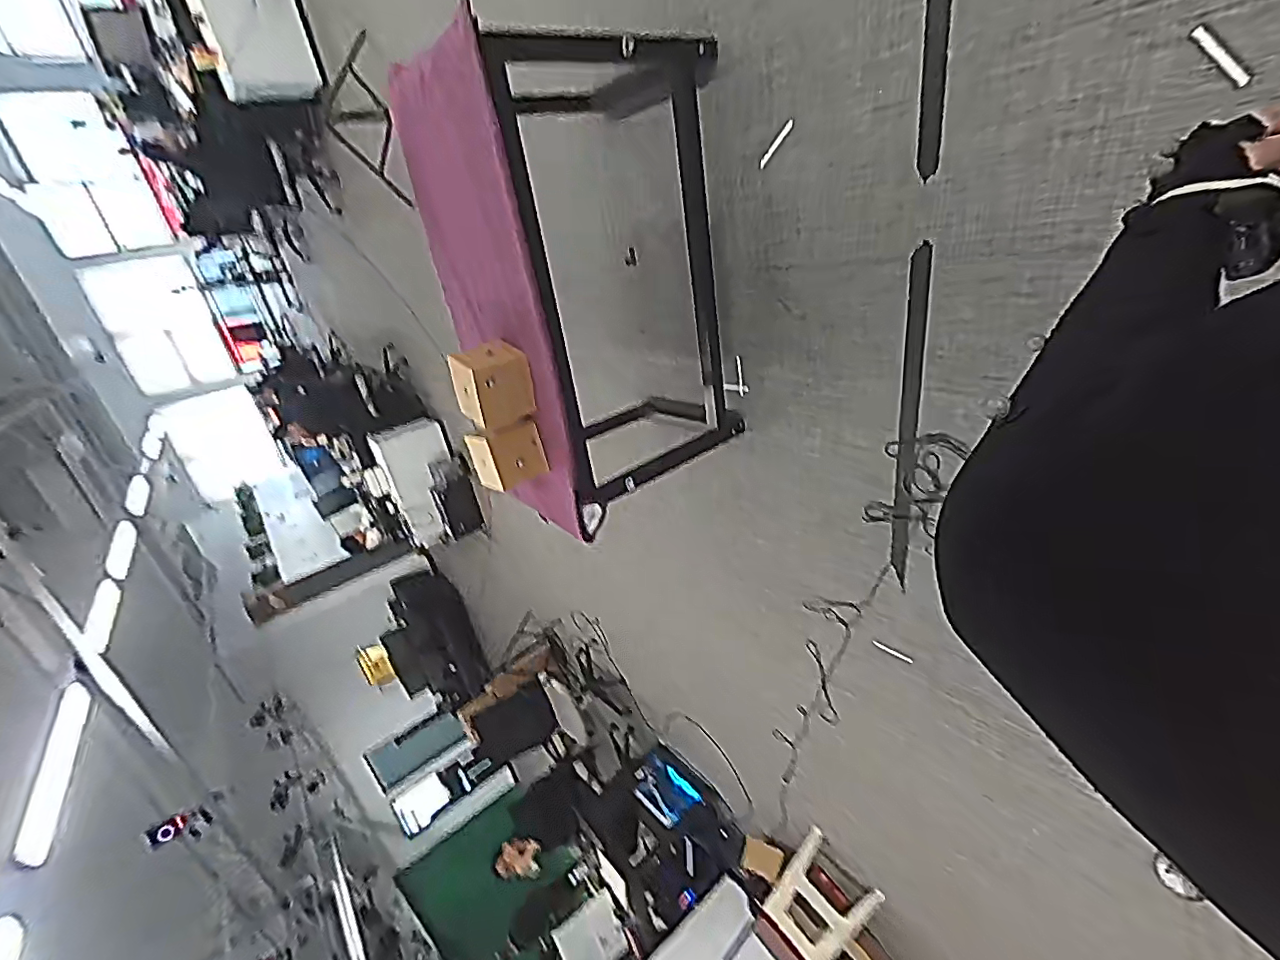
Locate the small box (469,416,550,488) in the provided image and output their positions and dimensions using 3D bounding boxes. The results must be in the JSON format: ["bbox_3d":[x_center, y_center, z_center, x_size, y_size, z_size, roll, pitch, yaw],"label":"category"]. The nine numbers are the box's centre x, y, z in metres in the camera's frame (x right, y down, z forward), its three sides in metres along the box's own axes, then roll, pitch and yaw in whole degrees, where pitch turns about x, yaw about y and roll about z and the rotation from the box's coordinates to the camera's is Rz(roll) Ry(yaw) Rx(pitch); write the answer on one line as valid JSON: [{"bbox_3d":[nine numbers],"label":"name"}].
[{"bbox_3d":[-0.395,-0.092,1.667,0.179,0.176,0.168,11,122,52],"label":"small box"}]

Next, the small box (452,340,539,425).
[{"bbox_3d":[-0.406,-0.285,1.537,0.168,0.176,0.179,33,138,42],"label":"small box"}]
